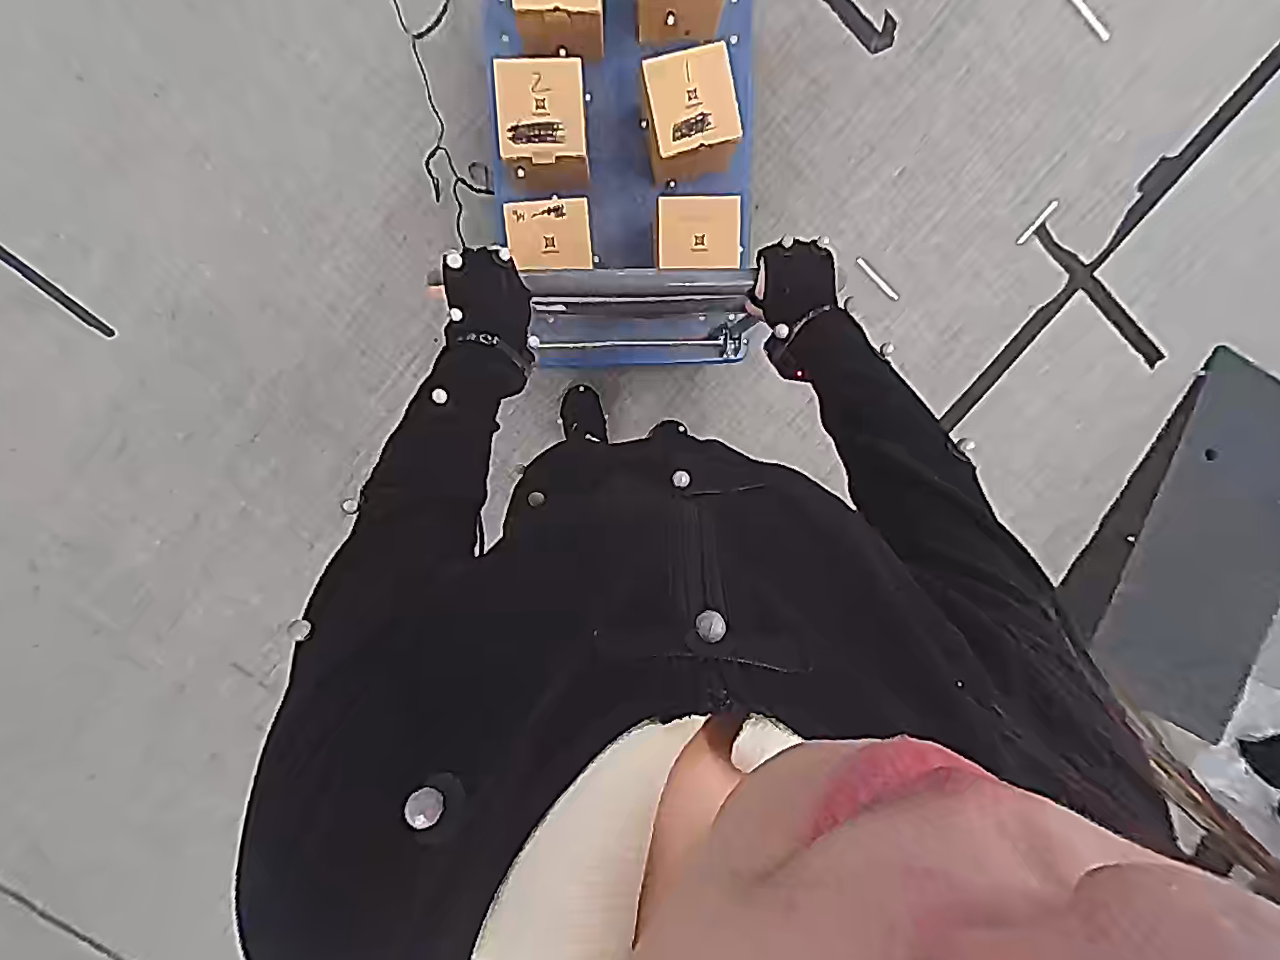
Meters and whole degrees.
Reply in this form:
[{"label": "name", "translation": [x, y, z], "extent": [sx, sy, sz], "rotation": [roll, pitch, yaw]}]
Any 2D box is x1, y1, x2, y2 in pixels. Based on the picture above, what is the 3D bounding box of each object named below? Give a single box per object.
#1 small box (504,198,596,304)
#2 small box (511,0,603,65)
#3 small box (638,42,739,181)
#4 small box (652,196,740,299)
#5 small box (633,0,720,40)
[{"label": "small box", "translation": [-0.184, -0.476, 1.149], "extent": [0.168, 0.176, 0.179], "rotation": [-5, 100, -3]}, {"label": "small box", "translation": [-0.160, -0.968, 1.066], "extent": [0.168, 0.176, 0.179], "rotation": [0, 100, -2]}, {"label": "small box", "translation": [0.095, -0.744, 1.117], "extent": [0.168, 0.176, 0.179], "rotation": [-14, 99, 0]}, {"label": "small box", "translation": [0.114, -0.491, 1.162], "extent": [0.168, 0.176, 0.179], "rotation": [-1, 99, -3]}, {"label": "small box", "translation": [0.071, -1.011, 1.071], "extent": [0.168, 0.176, 0.179], "rotation": [-5, 100, -1]}]
